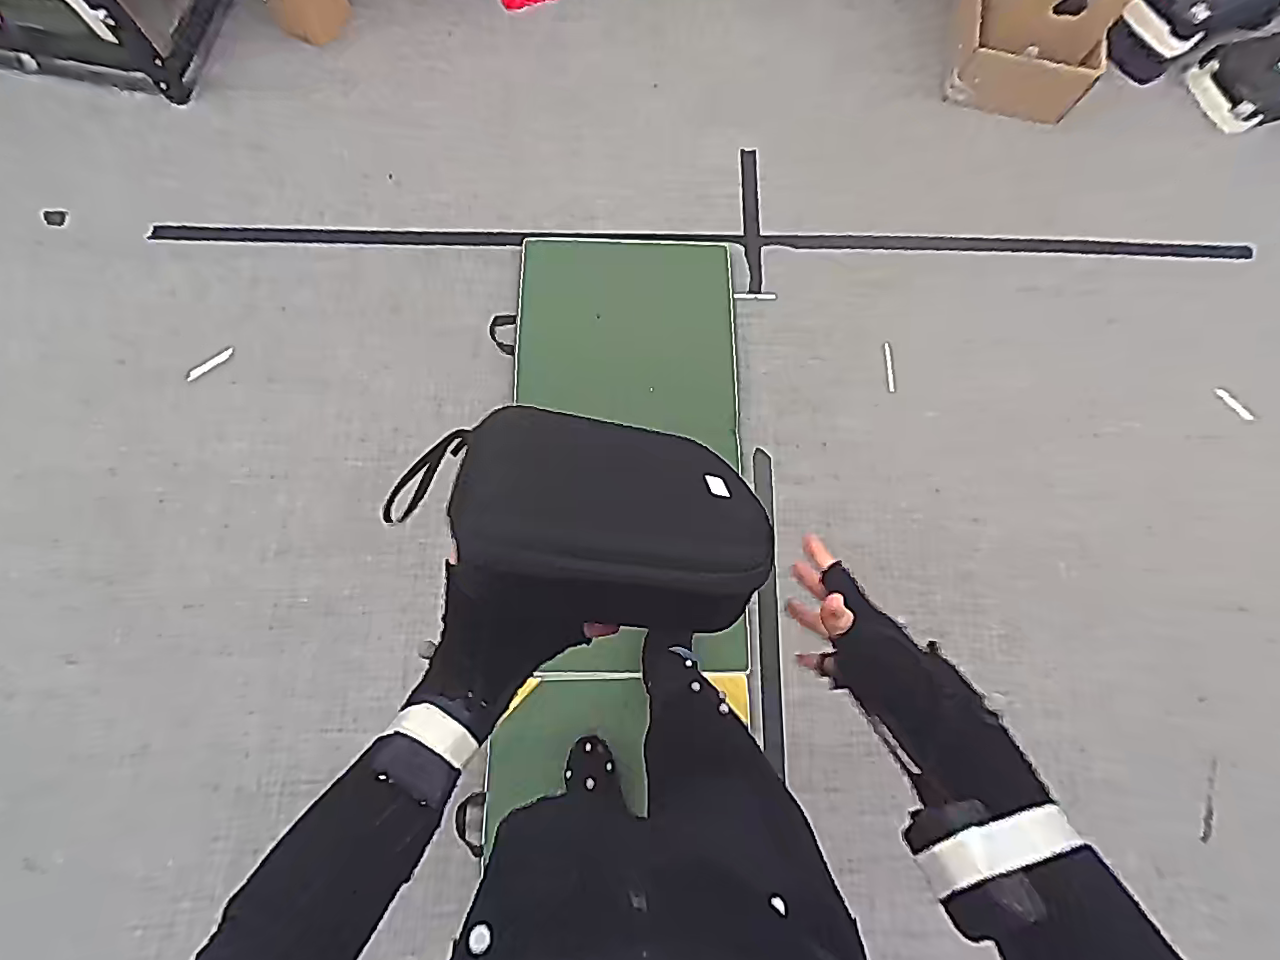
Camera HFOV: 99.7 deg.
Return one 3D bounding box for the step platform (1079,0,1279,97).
[{"bbox_3d":[1.917,-1.612,1.873,0.684,0.204,0.286,-28,78,-9],"label":"step platform"}]
